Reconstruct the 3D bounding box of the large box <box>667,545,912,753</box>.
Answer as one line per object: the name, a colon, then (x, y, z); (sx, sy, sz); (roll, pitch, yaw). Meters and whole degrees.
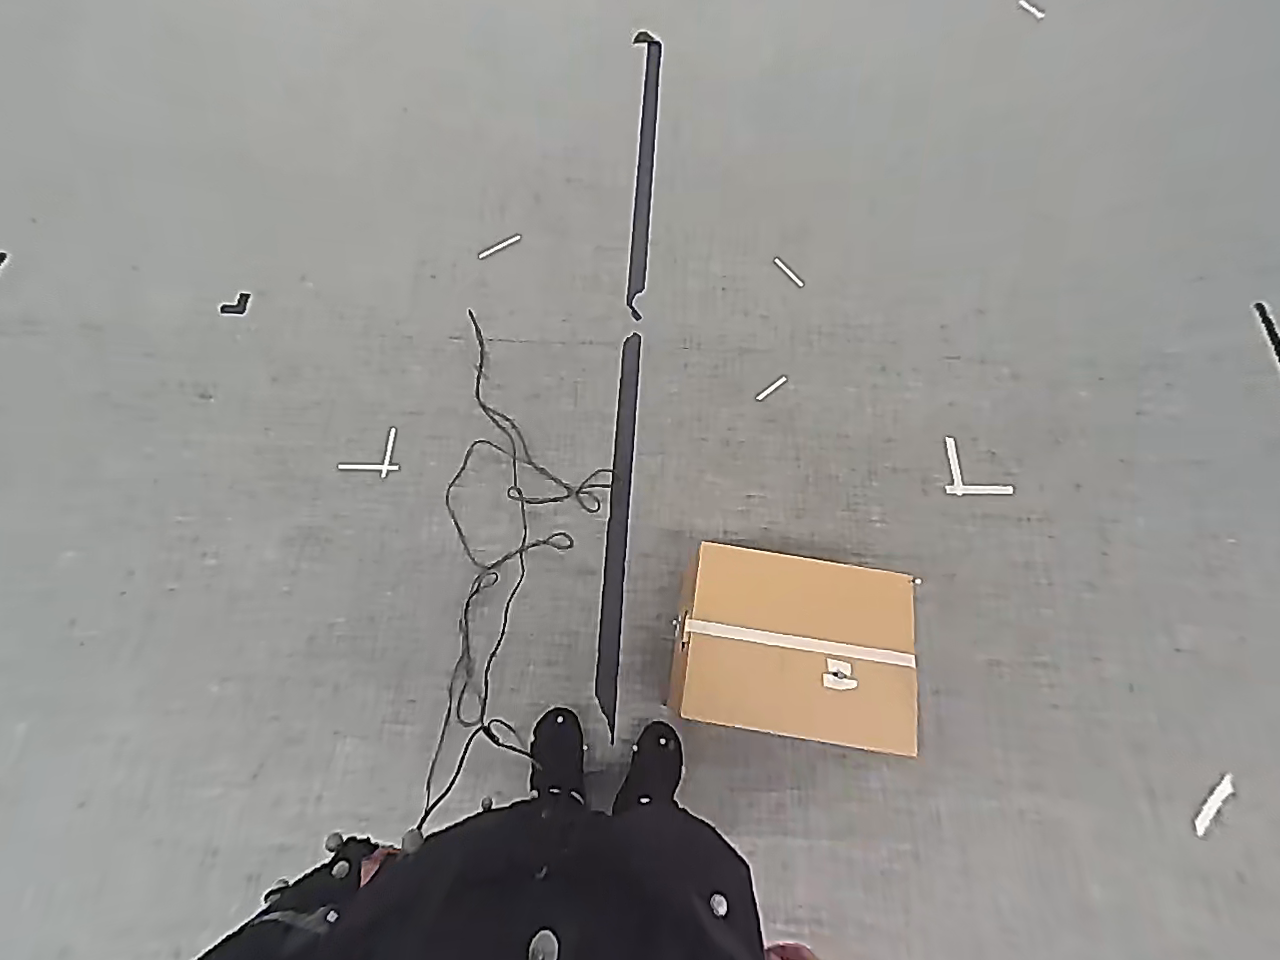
large box: (0.280, 0.343, 1.107); (0.408, 0.320, 0.320); (10, 71, 1)
